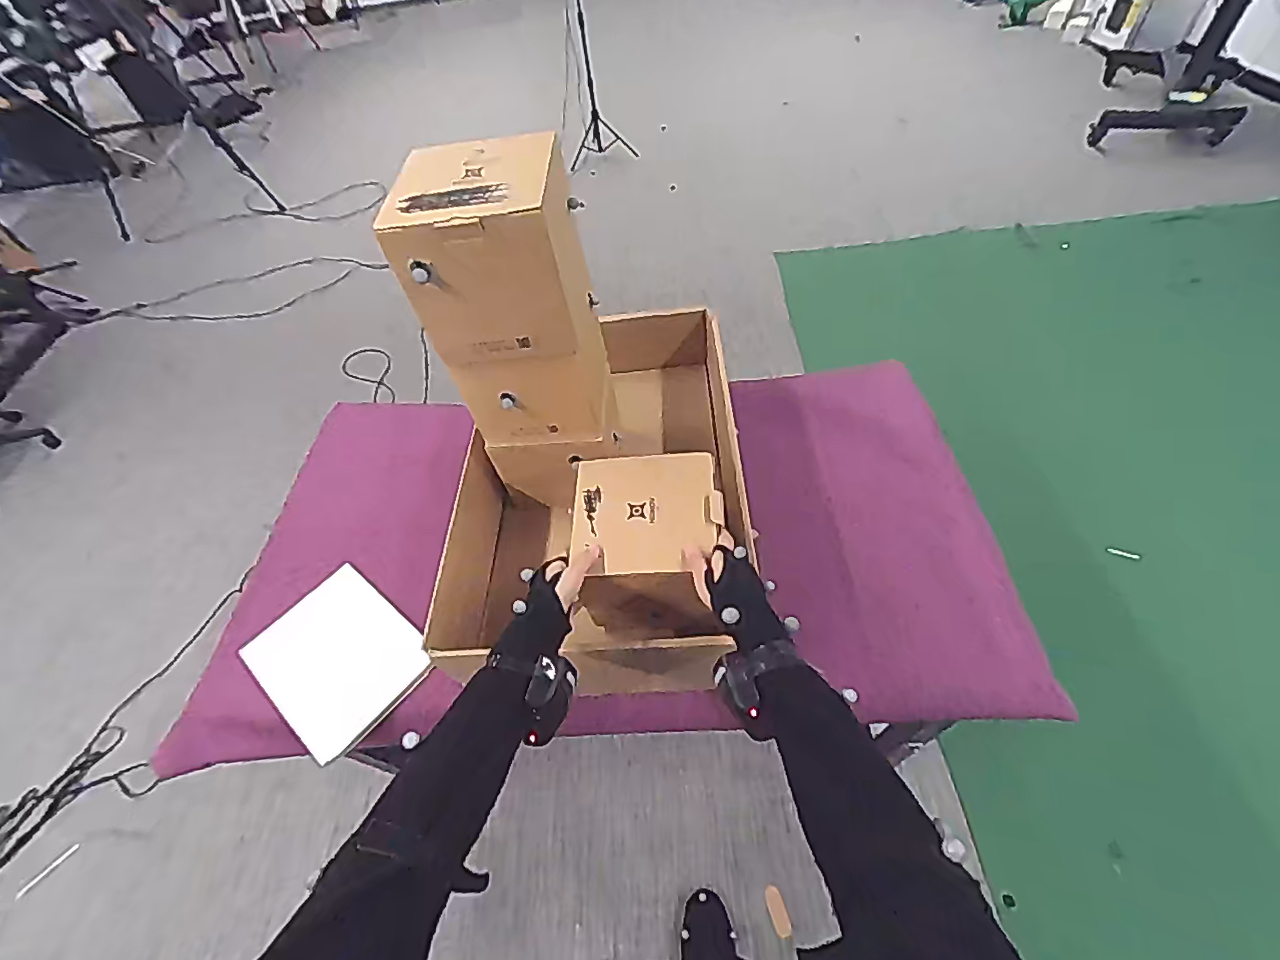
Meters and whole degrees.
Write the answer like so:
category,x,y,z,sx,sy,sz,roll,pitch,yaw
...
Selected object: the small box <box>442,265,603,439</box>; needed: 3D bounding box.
category,x,y,z,sx,sy,sz,roll,pitch,yaw
small box,-0.148,-0.169,0.754,0.168,0.176,0.179,-3,53,6
